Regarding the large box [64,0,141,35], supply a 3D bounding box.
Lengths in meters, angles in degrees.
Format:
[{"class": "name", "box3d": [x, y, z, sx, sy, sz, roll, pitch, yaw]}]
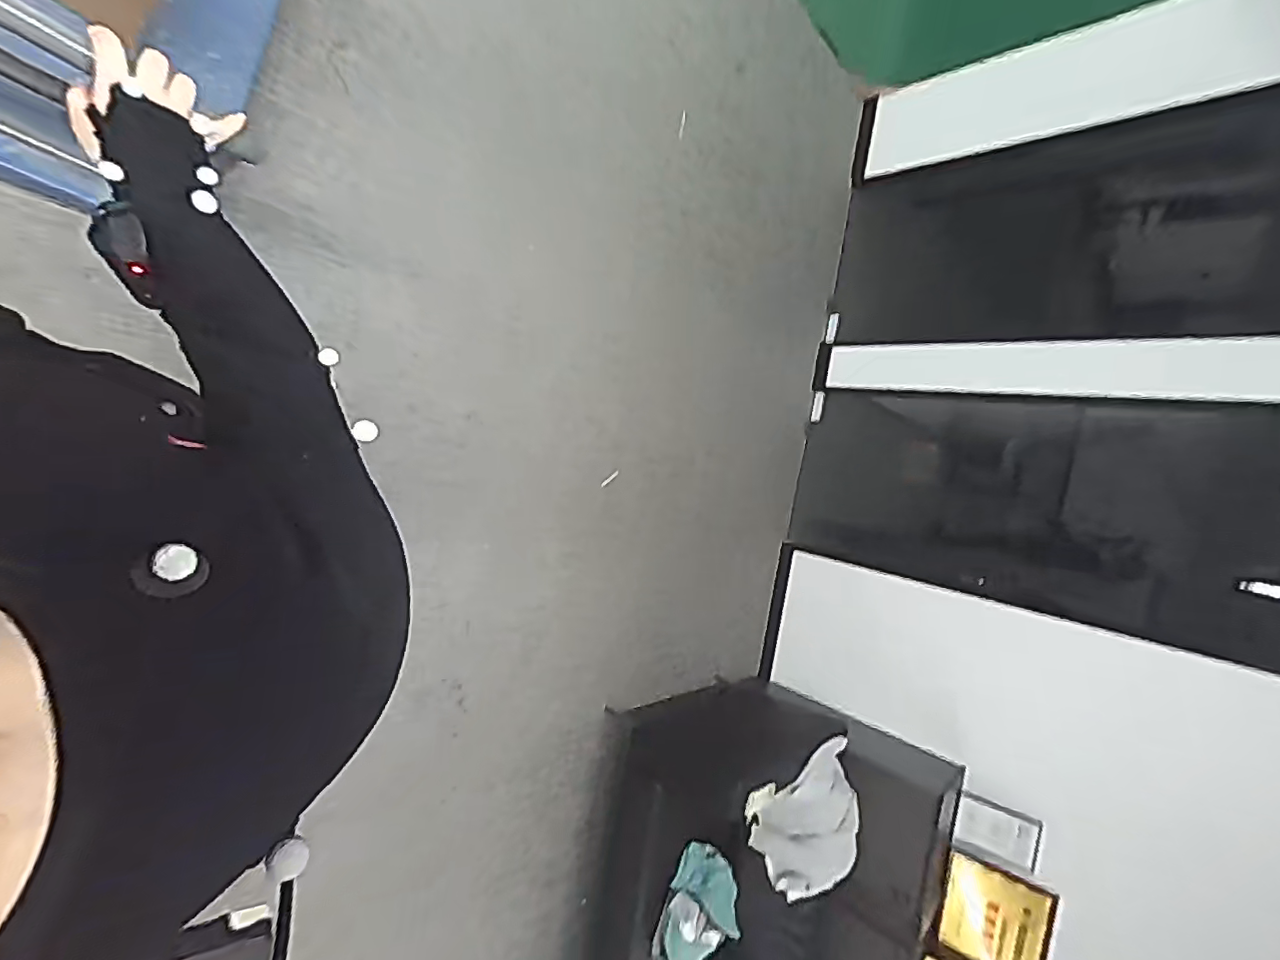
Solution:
[{"class": "large box", "box3d": [-0.858, -0.924, 0.693, 0.408, 0.320, 0.320, 21, 84, -48]}]
